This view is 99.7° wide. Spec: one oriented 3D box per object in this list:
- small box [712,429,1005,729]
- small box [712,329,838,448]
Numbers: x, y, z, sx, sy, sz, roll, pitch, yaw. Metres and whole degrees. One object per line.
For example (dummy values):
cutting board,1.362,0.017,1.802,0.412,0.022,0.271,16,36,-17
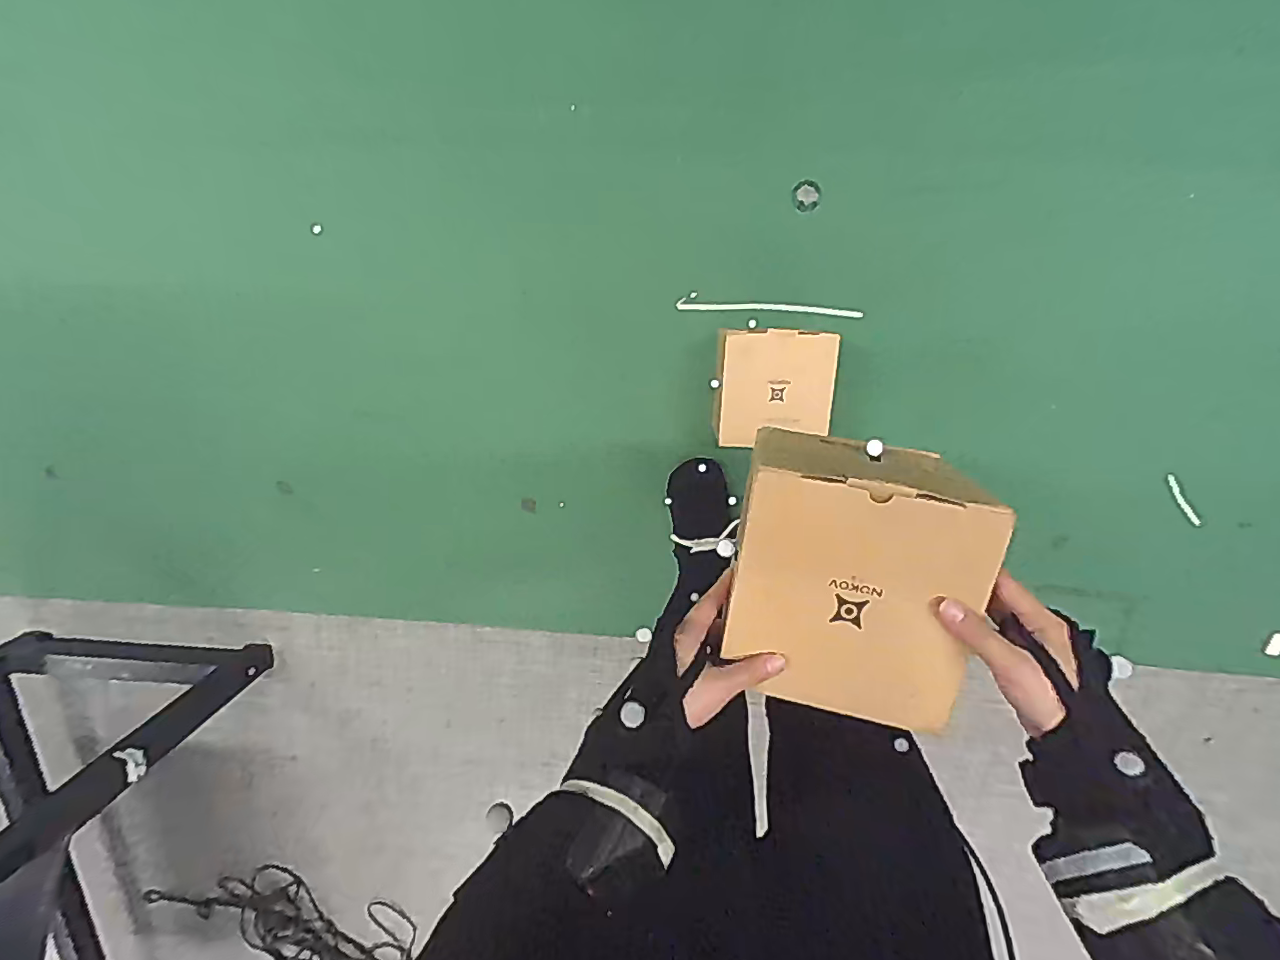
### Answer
small box,0.164,0.065,0.459,0.168,0.176,0.179,11,106,10
small box,0.208,-0.153,0.884,0.168,0.176,0.179,3,107,4
